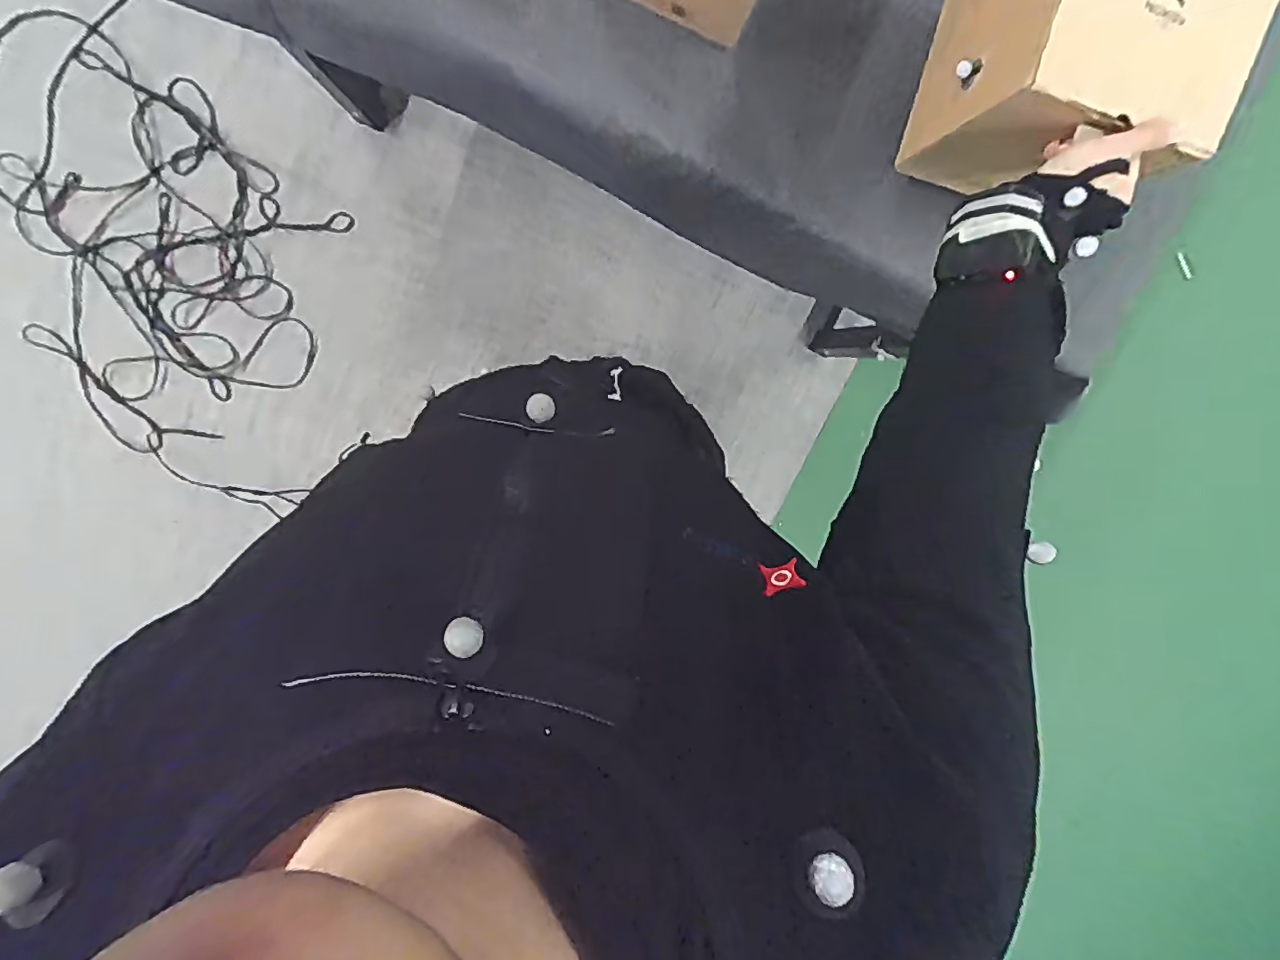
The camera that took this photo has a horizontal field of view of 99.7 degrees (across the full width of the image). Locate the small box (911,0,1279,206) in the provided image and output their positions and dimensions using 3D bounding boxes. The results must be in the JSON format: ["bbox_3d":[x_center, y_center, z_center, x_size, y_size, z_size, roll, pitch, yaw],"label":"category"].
[{"bbox_3d":[0.362,-0.356,0.450,0.168,0.176,0.179,12,99,-10],"label":"small box"}]
